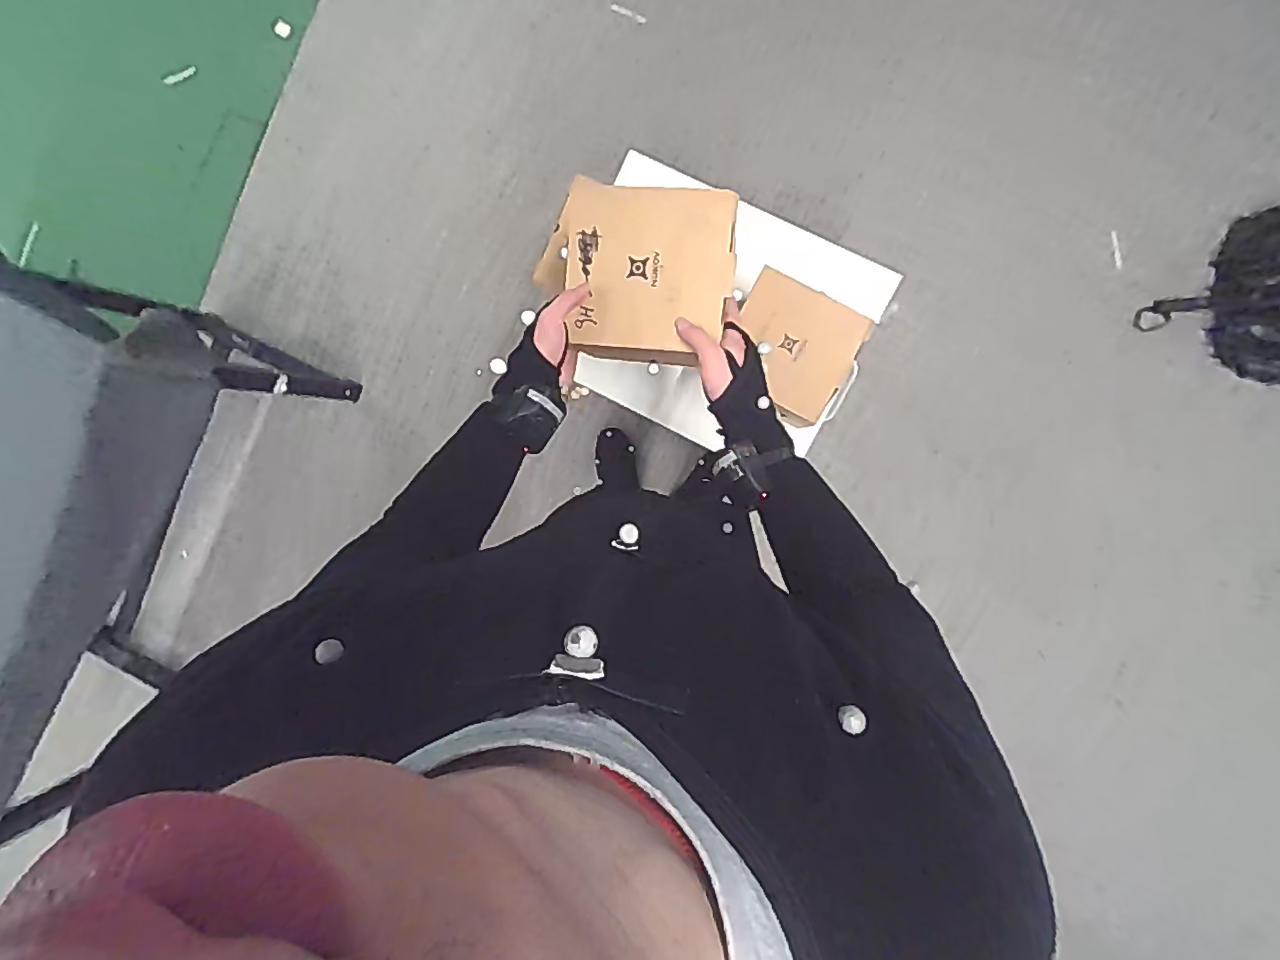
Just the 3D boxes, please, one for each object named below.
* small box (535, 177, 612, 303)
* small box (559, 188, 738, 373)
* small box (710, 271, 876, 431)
[{"bbox_3d":[-0.035,-0.333,0.858,0.179,0.176,0.168,26,98,3],"label":"small box"},{"bbox_3d":[0.016,-0.222,0.641,0.179,0.176,0.168,6,96,7],"label":"small box"},{"bbox_3d":[0.224,-0.187,0.836,0.179,0.176,0.168,29,96,7],"label":"small box"}]
